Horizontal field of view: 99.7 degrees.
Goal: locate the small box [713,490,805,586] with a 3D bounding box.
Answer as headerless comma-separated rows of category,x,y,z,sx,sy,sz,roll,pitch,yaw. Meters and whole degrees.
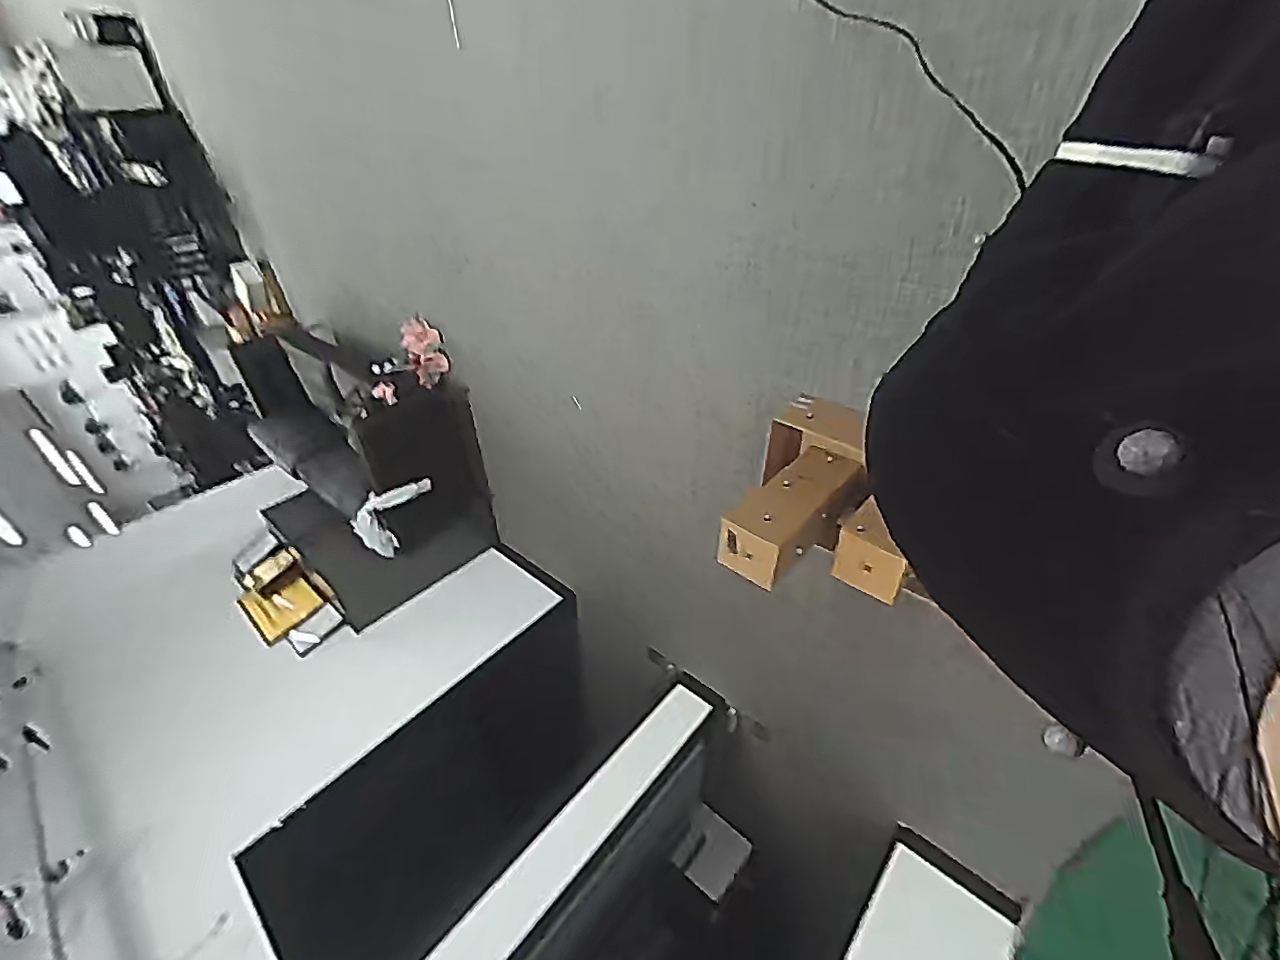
small box,0.327,0.151,1.489,0.179,0.176,0.168,27,133,27

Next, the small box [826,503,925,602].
small box,0.630,0.185,1.446,0.179,0.176,0.168,28,134,35

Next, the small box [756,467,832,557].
small box,0.441,0.086,1.584,0.168,0.176,0.179,29,135,32
